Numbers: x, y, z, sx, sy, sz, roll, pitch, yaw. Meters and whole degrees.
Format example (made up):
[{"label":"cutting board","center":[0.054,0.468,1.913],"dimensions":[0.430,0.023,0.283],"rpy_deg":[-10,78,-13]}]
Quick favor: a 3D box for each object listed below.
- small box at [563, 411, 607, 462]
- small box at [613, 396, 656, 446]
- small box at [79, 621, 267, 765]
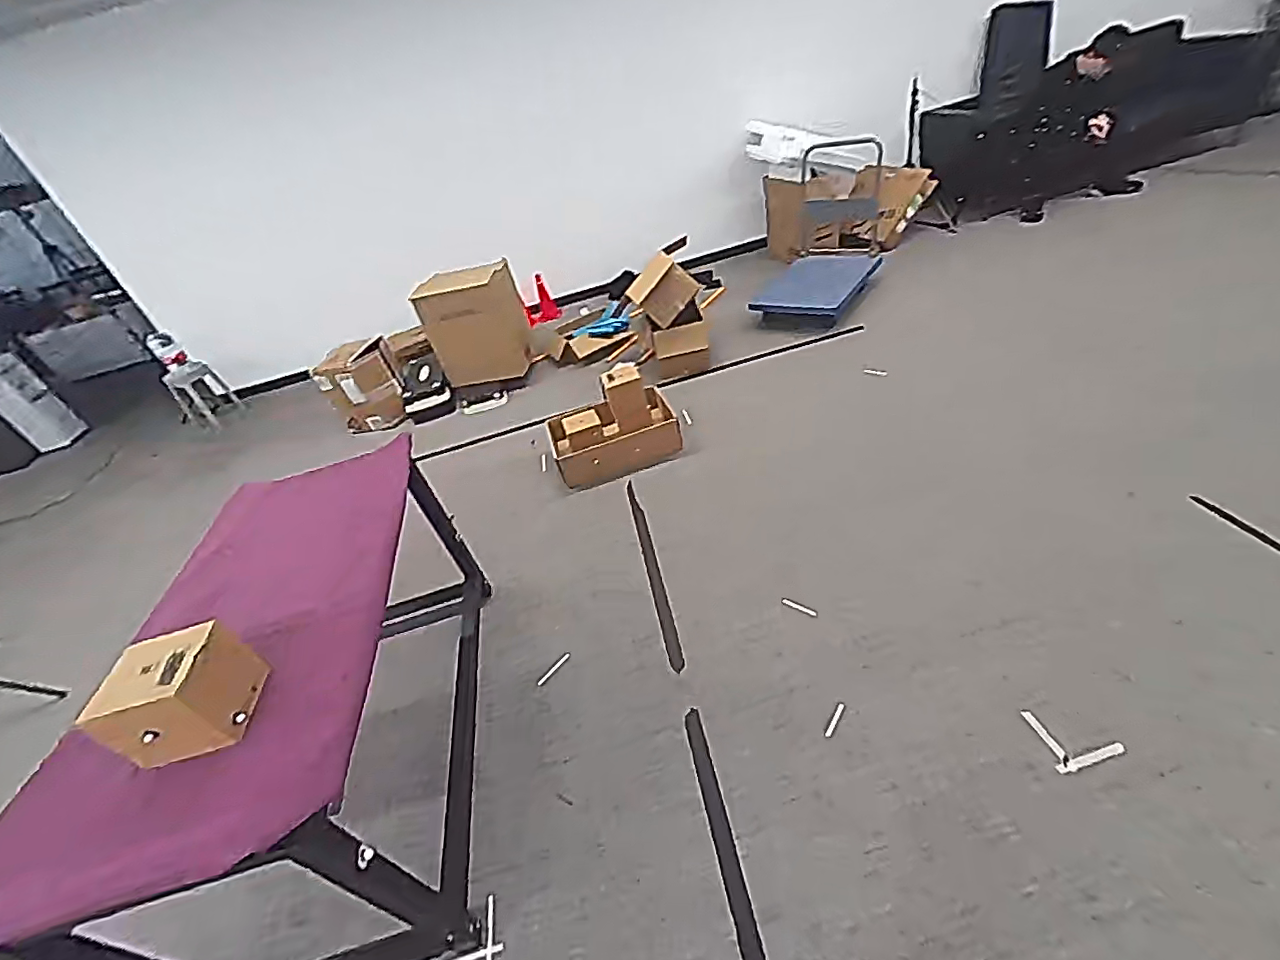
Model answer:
[{"label":"small box","center":[-0.273,-0.217,2.729],"dimensions":[0.179,0.176,0.168],"rpy_deg":[-19,36,-7]},{"label":"small box","center":[-0.028,-0.299,2.753],"dimensions":[0.168,0.176,0.179],"rpy_deg":[-20,37,-4]},{"label":"small box","center":[-0.852,0.400,1.013],"dimensions":[0.179,0.176,0.168],"rpy_deg":[-17,36,-1]}]
